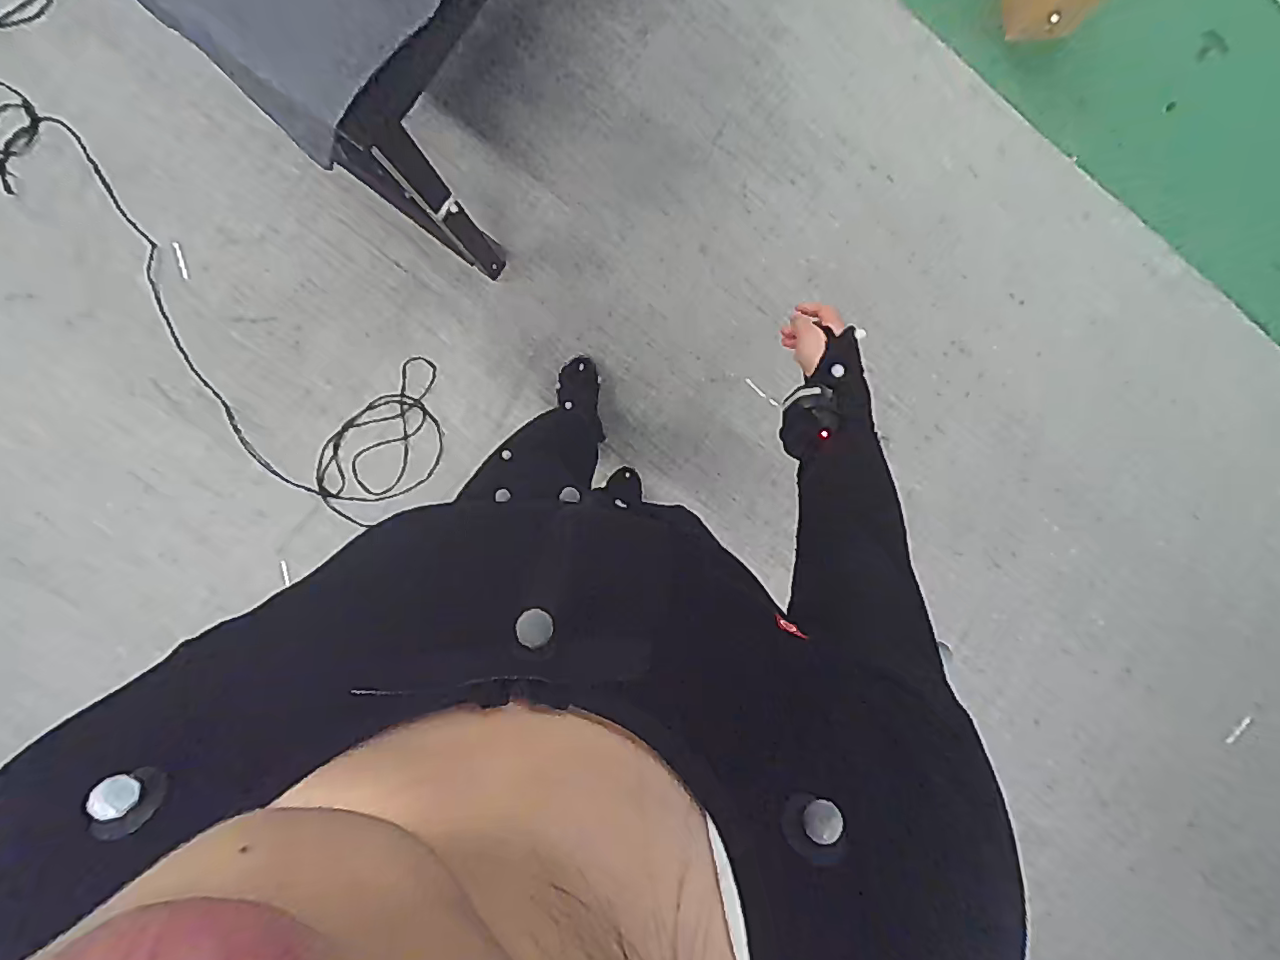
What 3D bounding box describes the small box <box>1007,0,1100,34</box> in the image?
[{"bbox_3d":[1.023,-1.225,1.308,0.168,0.176,0.179,-6,95,-1],"label":"small box"}]
